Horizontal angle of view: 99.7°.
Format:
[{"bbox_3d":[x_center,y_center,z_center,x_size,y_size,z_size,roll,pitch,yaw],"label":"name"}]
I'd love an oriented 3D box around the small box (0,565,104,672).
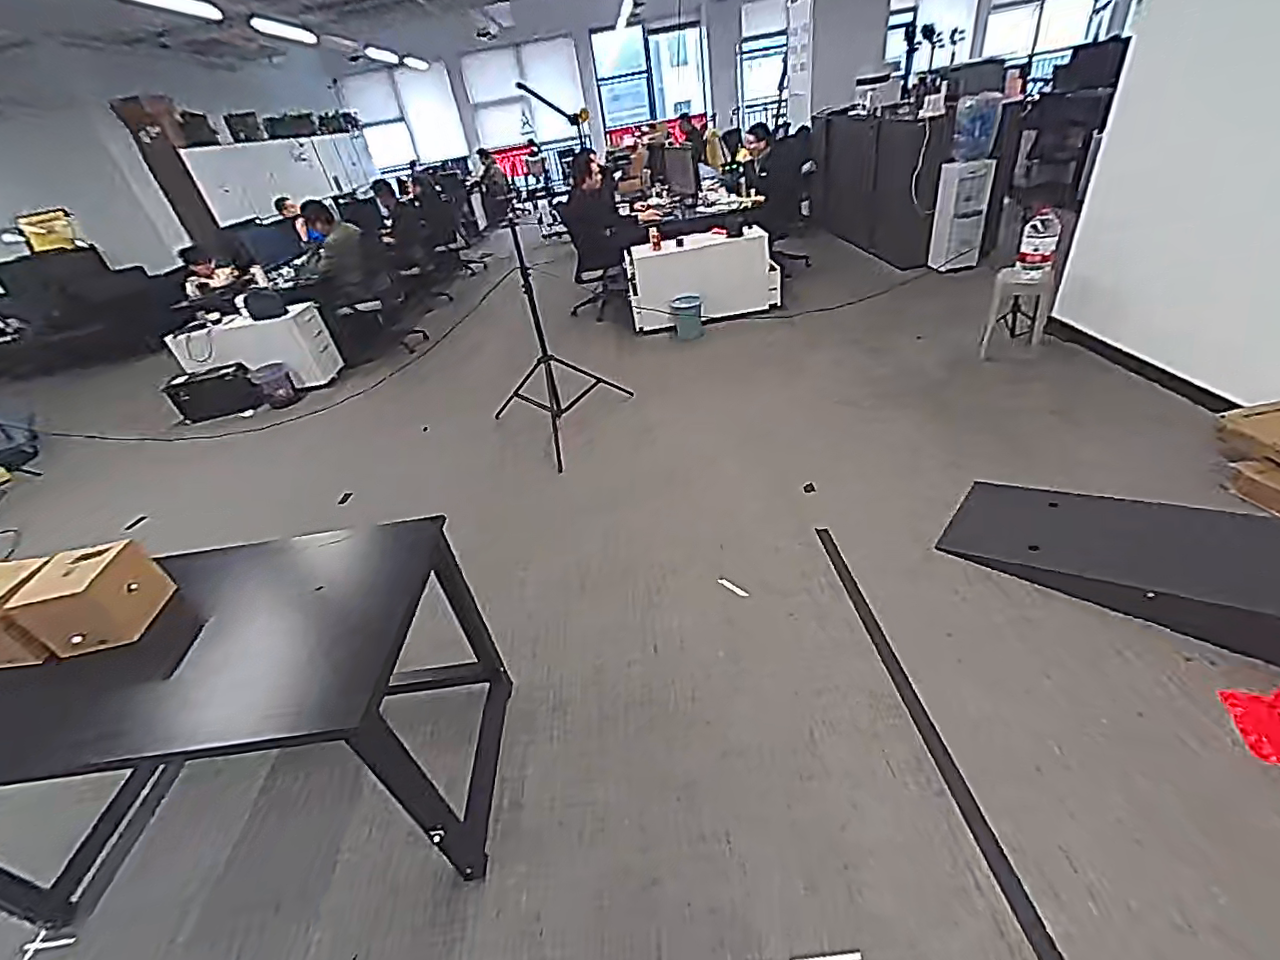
[{"bbox_3d":[-1.411,0.321,1.236,0.168,0.176,0.179,-7,34,4],"label":"small box"}]
